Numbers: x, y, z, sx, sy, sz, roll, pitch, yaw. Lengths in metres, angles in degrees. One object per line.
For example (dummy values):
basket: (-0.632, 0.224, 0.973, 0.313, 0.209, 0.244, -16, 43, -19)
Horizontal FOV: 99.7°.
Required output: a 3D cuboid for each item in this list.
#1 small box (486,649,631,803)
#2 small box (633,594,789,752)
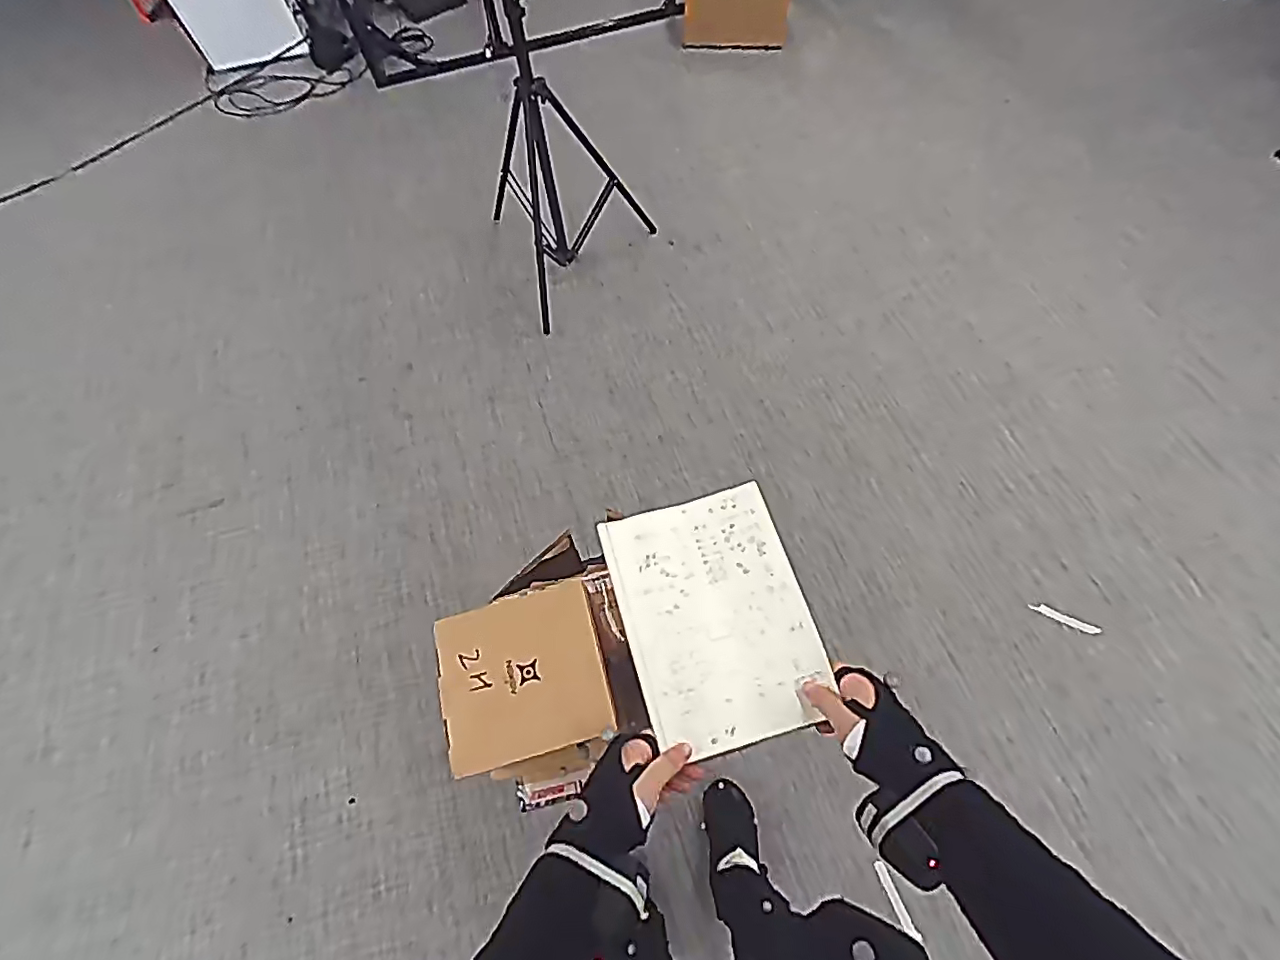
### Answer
small box: (-0.111, 0.354, 0.796, 0.179, 0.176, 0.168, -12, 67, -1)
small box: (0.095, 0.291, 0.818, 0.179, 0.176, 0.168, -19, 67, -7)
